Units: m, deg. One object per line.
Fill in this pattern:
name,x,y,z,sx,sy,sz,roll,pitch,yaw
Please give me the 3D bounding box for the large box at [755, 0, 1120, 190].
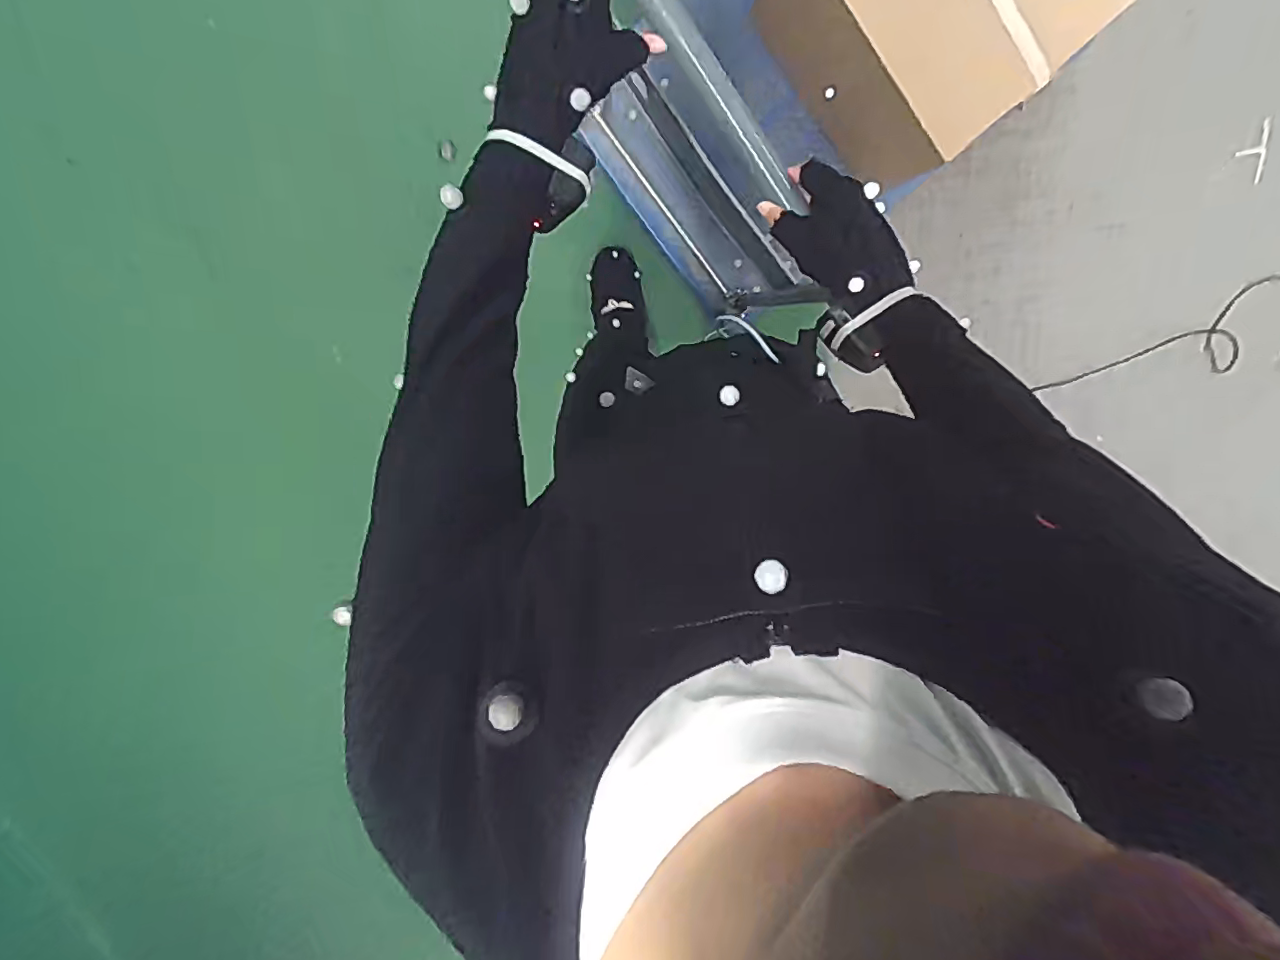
large box,0.450,-0.772,0.887,0.320,0.320,0.408,-41,102,13
